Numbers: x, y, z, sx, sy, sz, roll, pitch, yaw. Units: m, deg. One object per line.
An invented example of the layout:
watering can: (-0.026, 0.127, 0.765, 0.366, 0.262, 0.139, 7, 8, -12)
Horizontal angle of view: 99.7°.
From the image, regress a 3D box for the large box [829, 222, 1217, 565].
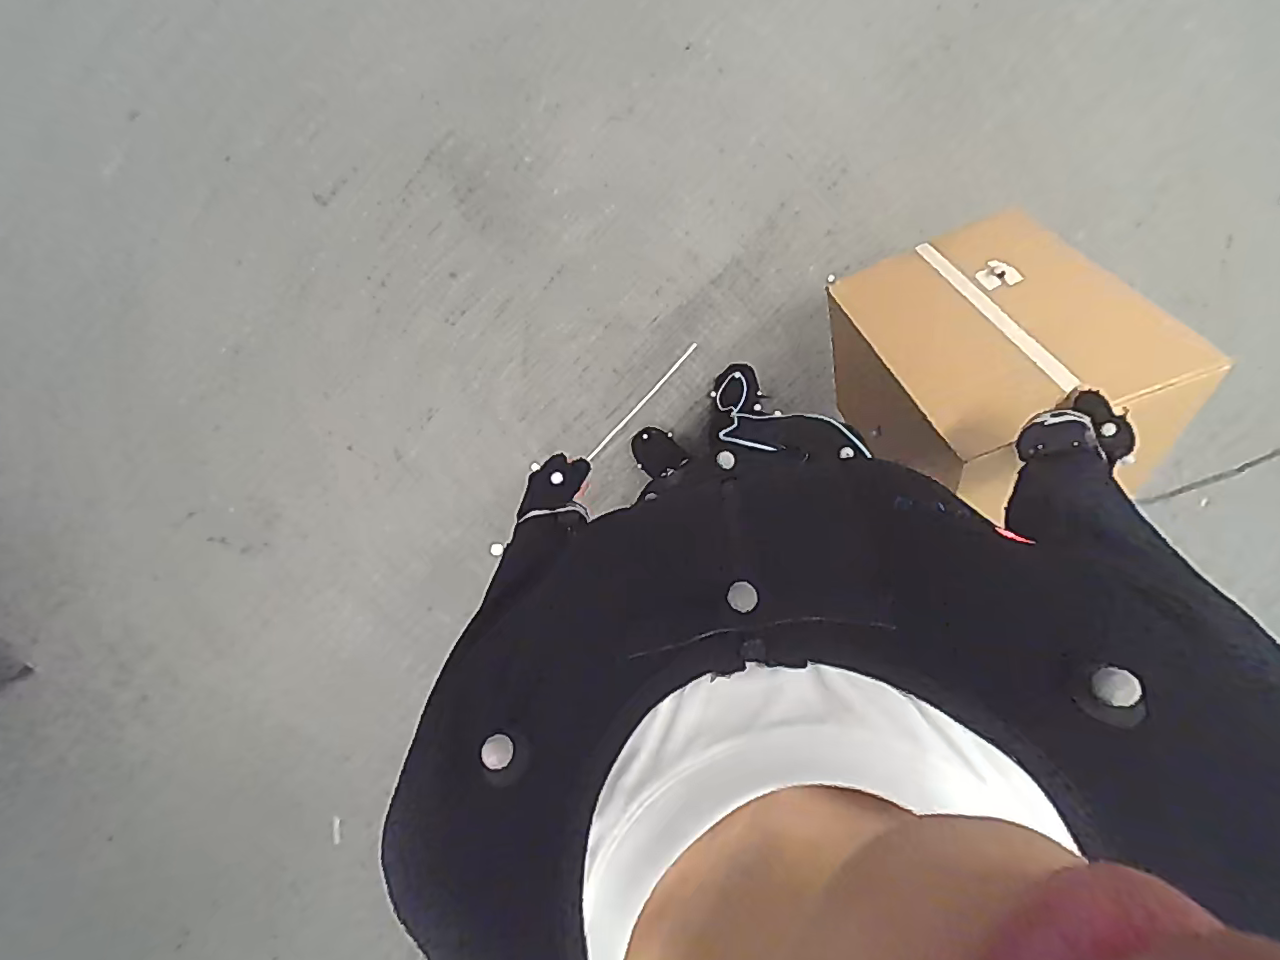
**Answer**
large box: (0.554, -0.137, 0.892, 0.320, 0.408, 0.320, -21, 140, 8)
